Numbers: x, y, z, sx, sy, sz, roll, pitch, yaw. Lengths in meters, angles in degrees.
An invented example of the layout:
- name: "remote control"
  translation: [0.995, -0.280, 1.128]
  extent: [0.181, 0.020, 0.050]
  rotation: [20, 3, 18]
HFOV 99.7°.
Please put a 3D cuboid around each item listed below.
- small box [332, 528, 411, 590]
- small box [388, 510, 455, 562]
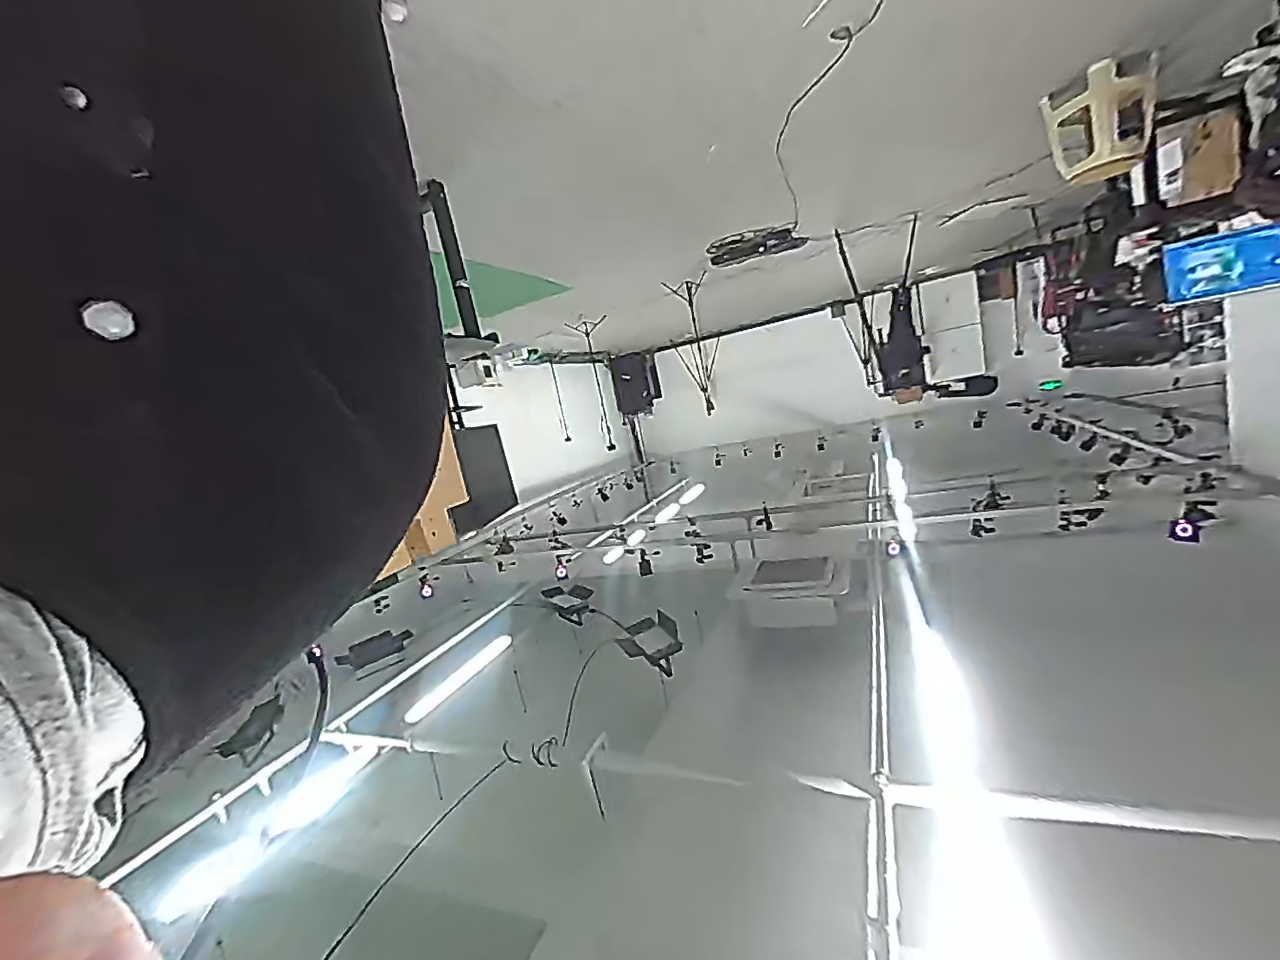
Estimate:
- name: "small box"
  translation: [-1.012, 0.292, 2.040]
  extent: [0.168, 0.176, 0.179]
  rotation: [-15, -172, 23]
- name: "small box"
  translation: [-0.923, 0.232, 2.275]
  extent: [0.179, 0.176, 0.168]
  rotation: [-14, -174, 19]
